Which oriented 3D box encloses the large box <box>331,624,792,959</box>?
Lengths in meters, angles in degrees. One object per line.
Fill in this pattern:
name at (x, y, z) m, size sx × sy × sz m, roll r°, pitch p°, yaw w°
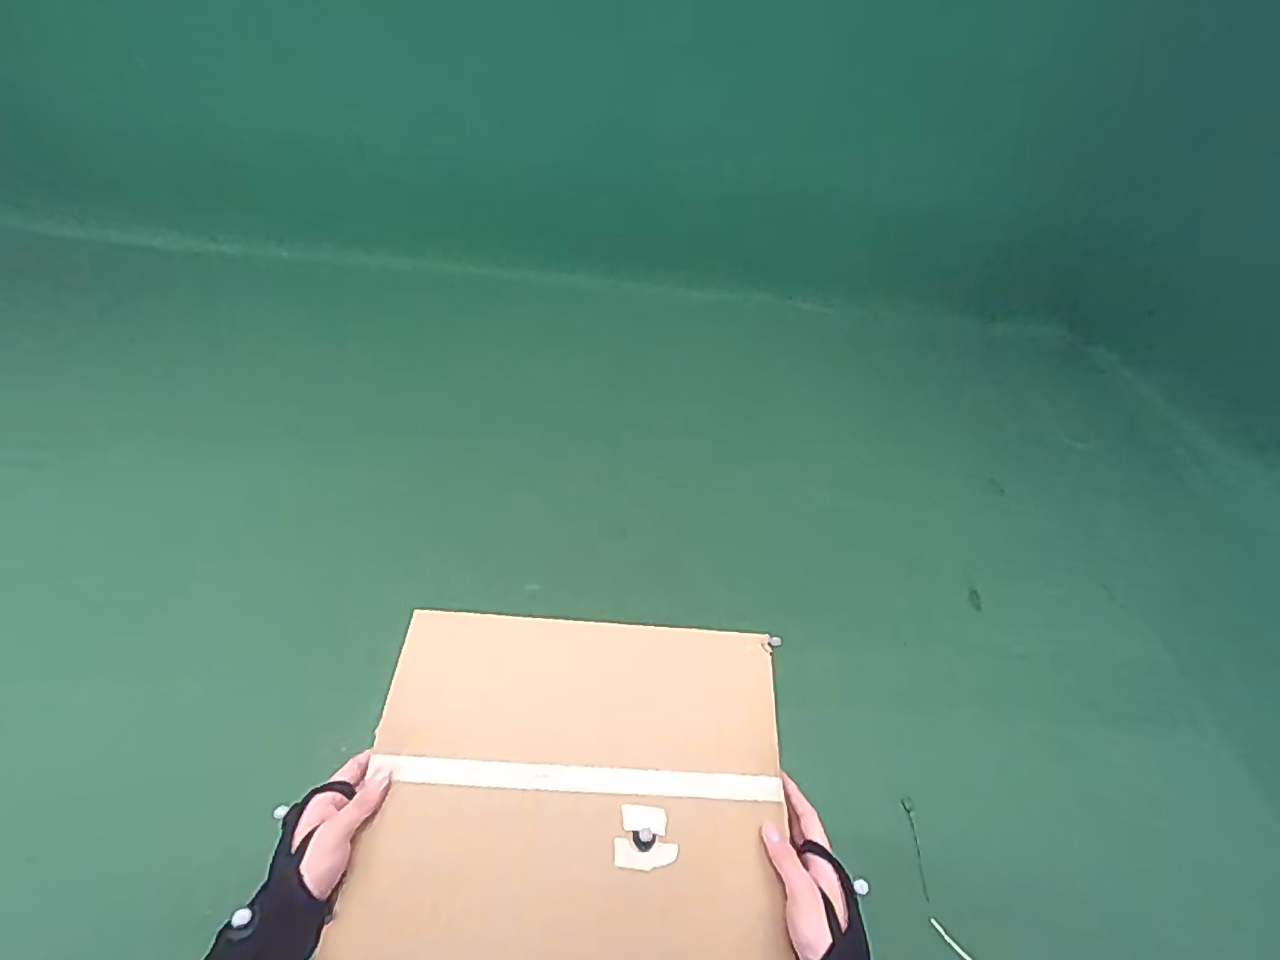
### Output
large box at (-0.074, 0.387, 0.662) m, size 0.408 × 0.320 × 0.320 m, roll 5°, pitch 56°, yaw -3°
